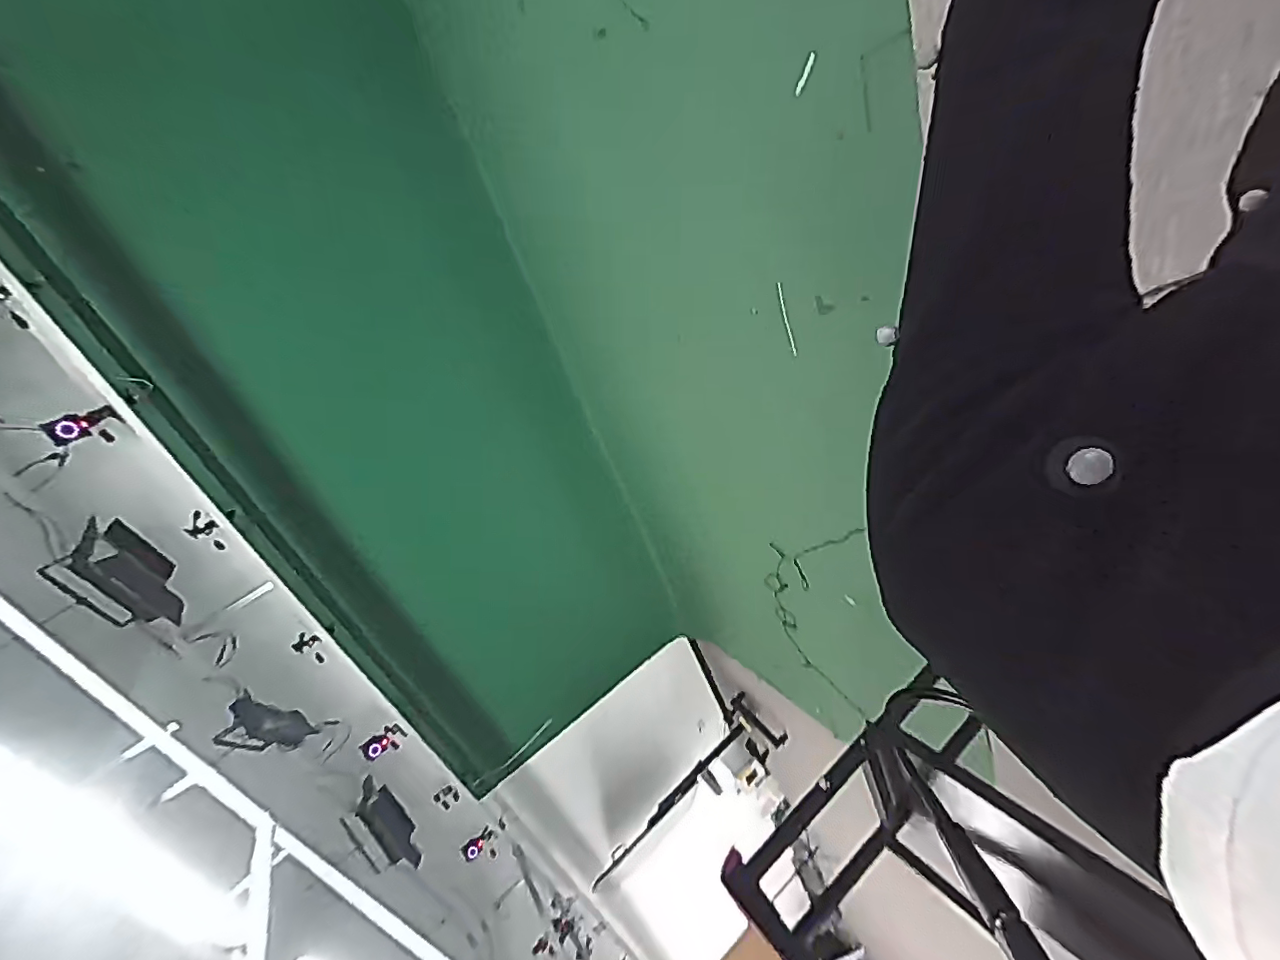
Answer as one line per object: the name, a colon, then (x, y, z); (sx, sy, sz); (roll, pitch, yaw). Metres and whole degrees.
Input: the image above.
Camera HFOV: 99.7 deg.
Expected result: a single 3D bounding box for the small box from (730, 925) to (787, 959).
small box: (0.363, 1.455, 1.560); (0.179, 0.176, 0.168); (26, 143, 53)
